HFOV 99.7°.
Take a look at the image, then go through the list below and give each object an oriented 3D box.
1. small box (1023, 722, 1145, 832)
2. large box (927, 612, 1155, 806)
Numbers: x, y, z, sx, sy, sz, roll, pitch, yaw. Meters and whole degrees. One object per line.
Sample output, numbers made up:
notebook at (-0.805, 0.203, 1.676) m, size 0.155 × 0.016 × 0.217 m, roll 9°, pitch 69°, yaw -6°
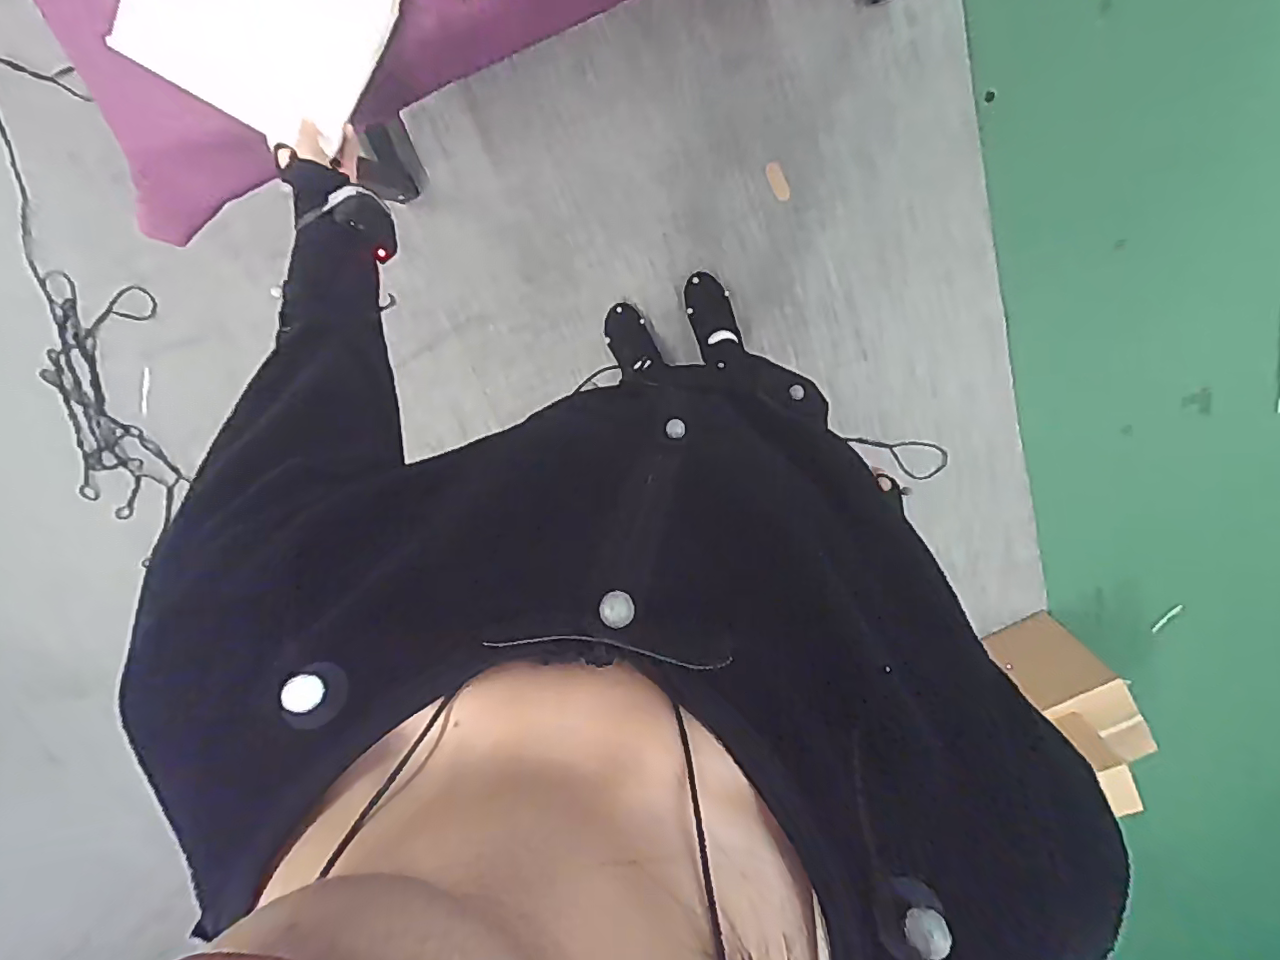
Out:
small box at (1.144, 0.761, 1.407) m, size 0.168 × 0.176 × 0.179 m, roll -27°, pitch 108°, yaw 12°
large box at (1.186, 0.683, 1.641) m, size 0.408 × 0.320 × 0.320 m, roll -34°, pitch 108°, yaw 11°
